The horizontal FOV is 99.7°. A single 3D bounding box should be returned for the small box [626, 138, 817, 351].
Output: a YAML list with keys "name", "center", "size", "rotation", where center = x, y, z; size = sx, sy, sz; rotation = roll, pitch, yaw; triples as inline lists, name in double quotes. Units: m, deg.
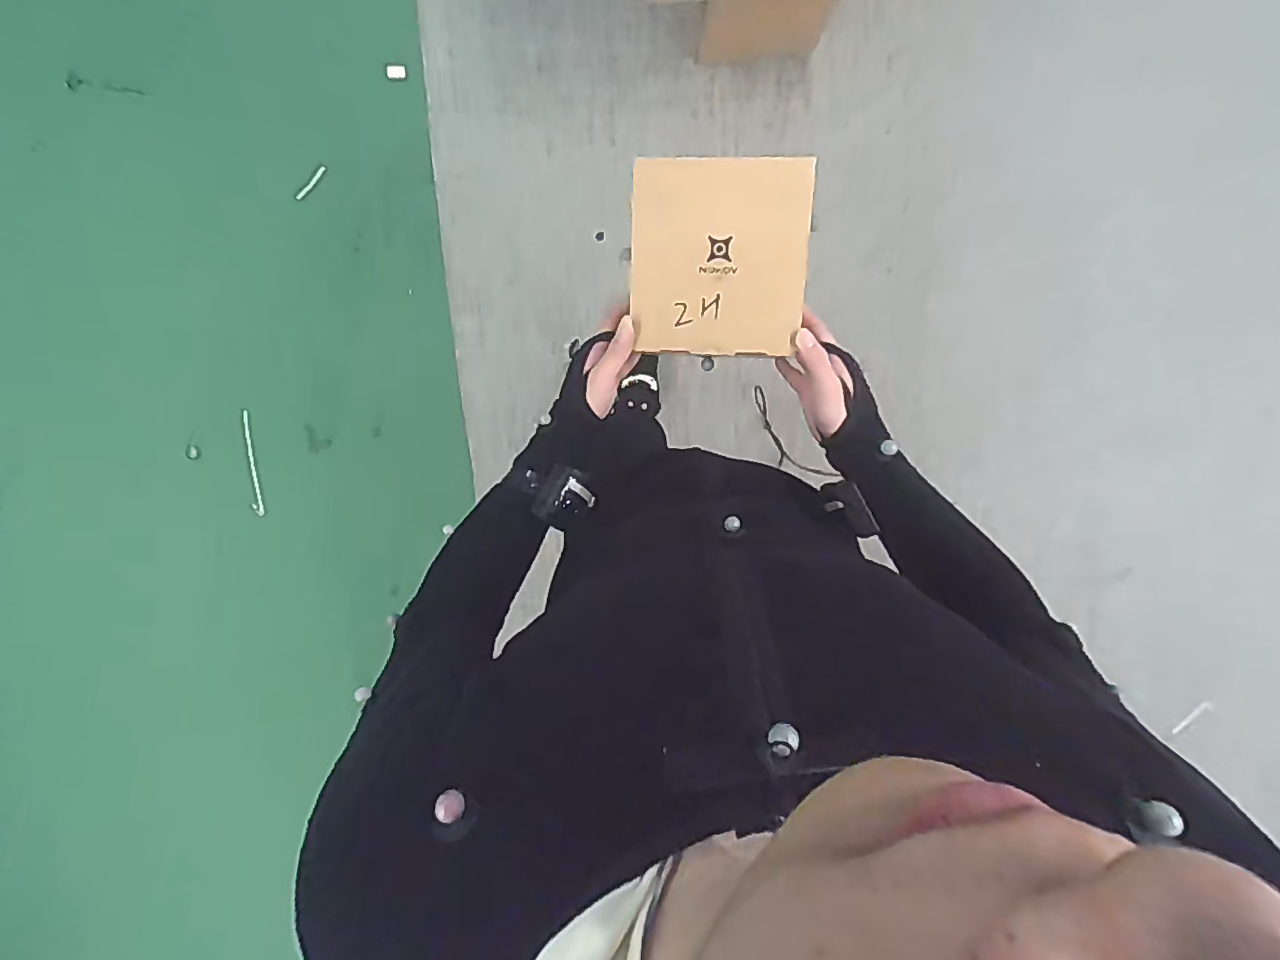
- name: "small box"
  center: [0.078, -0.234, 0.578]
  size: [0.168, 0.176, 0.179]
  rotation: [4, 102, 5]
